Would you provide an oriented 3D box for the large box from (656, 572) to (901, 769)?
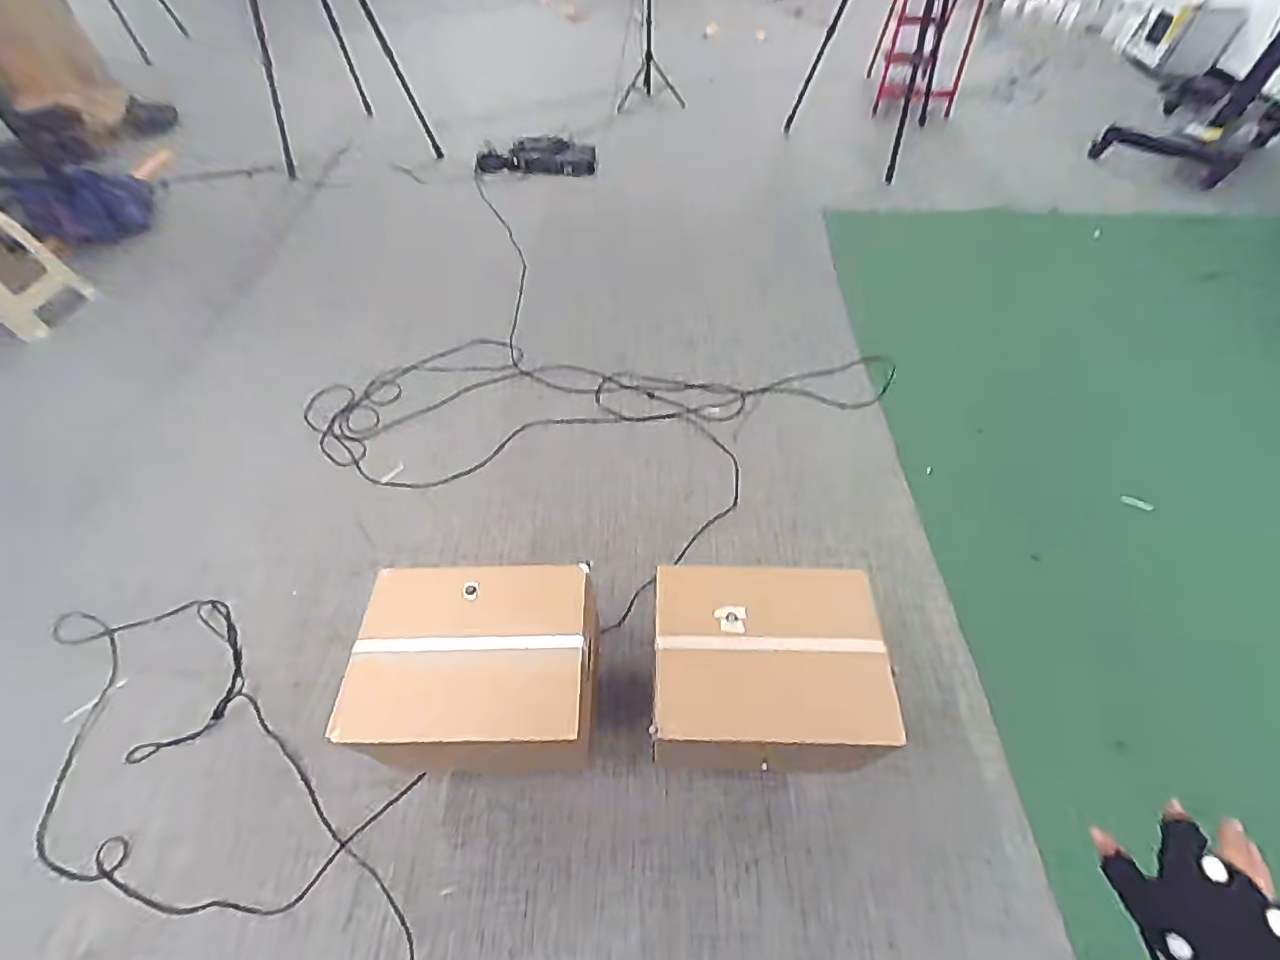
[{"bbox_3d":[0.237,0.392,1.091,0.408,0.320,0.320,1,54,2],"label":"large box"}]
